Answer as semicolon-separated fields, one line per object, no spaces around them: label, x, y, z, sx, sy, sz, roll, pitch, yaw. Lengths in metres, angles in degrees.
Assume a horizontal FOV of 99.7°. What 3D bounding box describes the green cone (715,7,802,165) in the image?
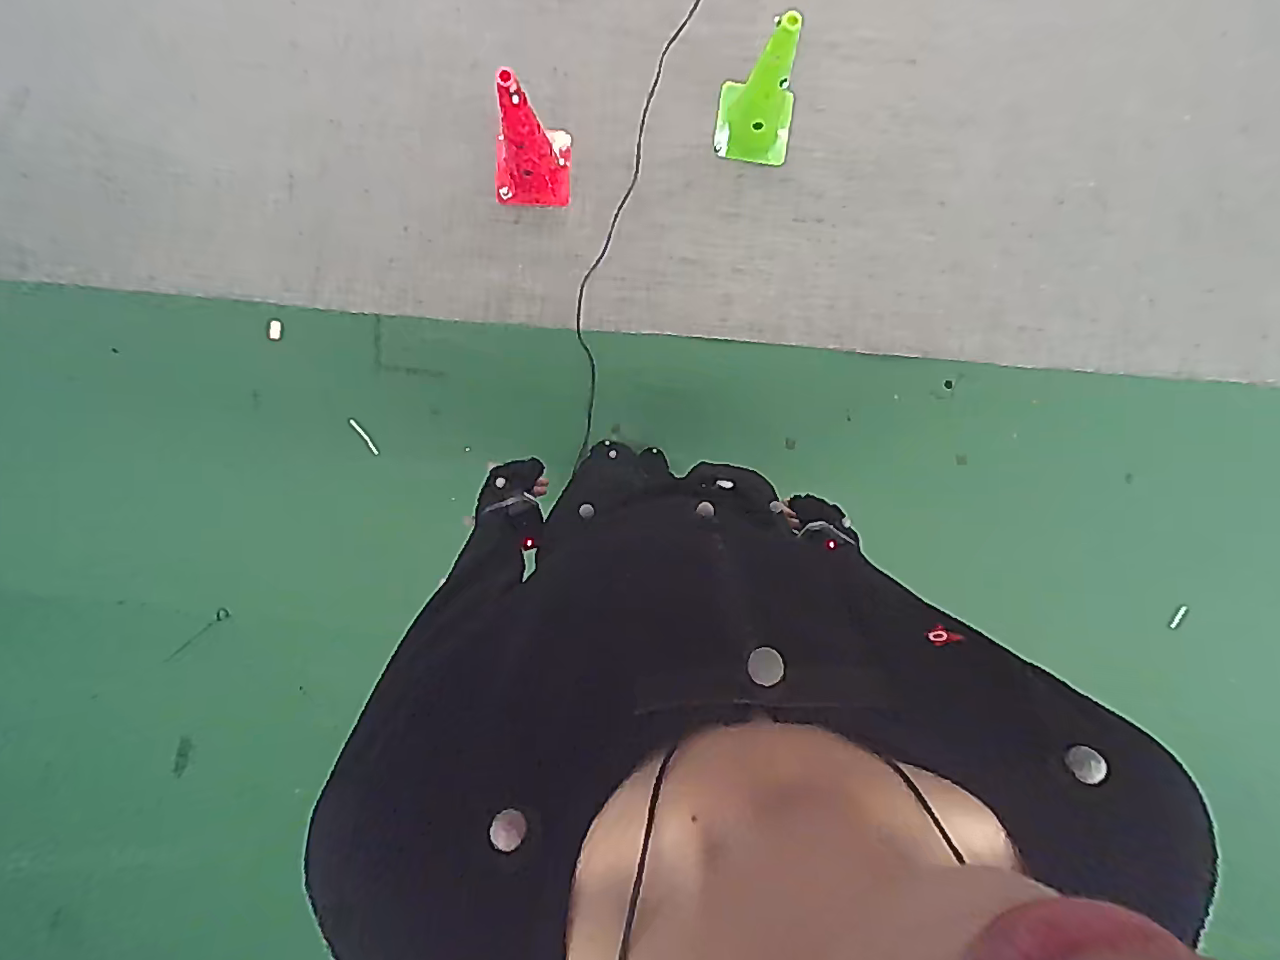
green cone;0.316;-0.964;1.304;0.200;0.368;0.202;7;91;-2
